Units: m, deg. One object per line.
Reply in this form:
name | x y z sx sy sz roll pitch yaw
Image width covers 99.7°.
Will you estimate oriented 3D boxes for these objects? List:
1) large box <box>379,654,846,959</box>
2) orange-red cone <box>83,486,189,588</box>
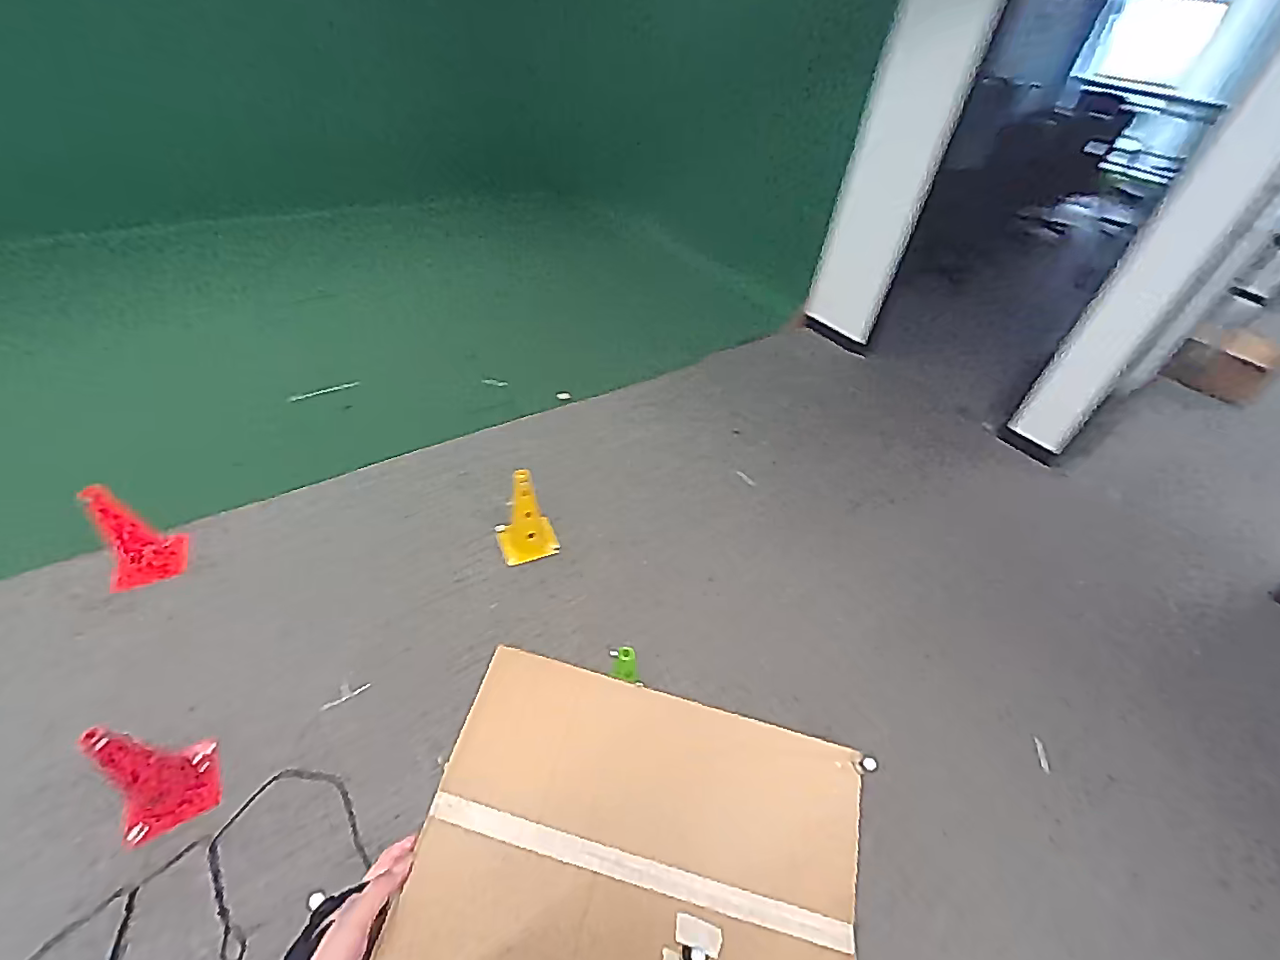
large box | -0.017 0.439 0.637 0.408 0.320 0.320 14 59 4
orange-red cone | -1.699 0.157 1.777 0.199 0.360 0.198 -17 48 -21
